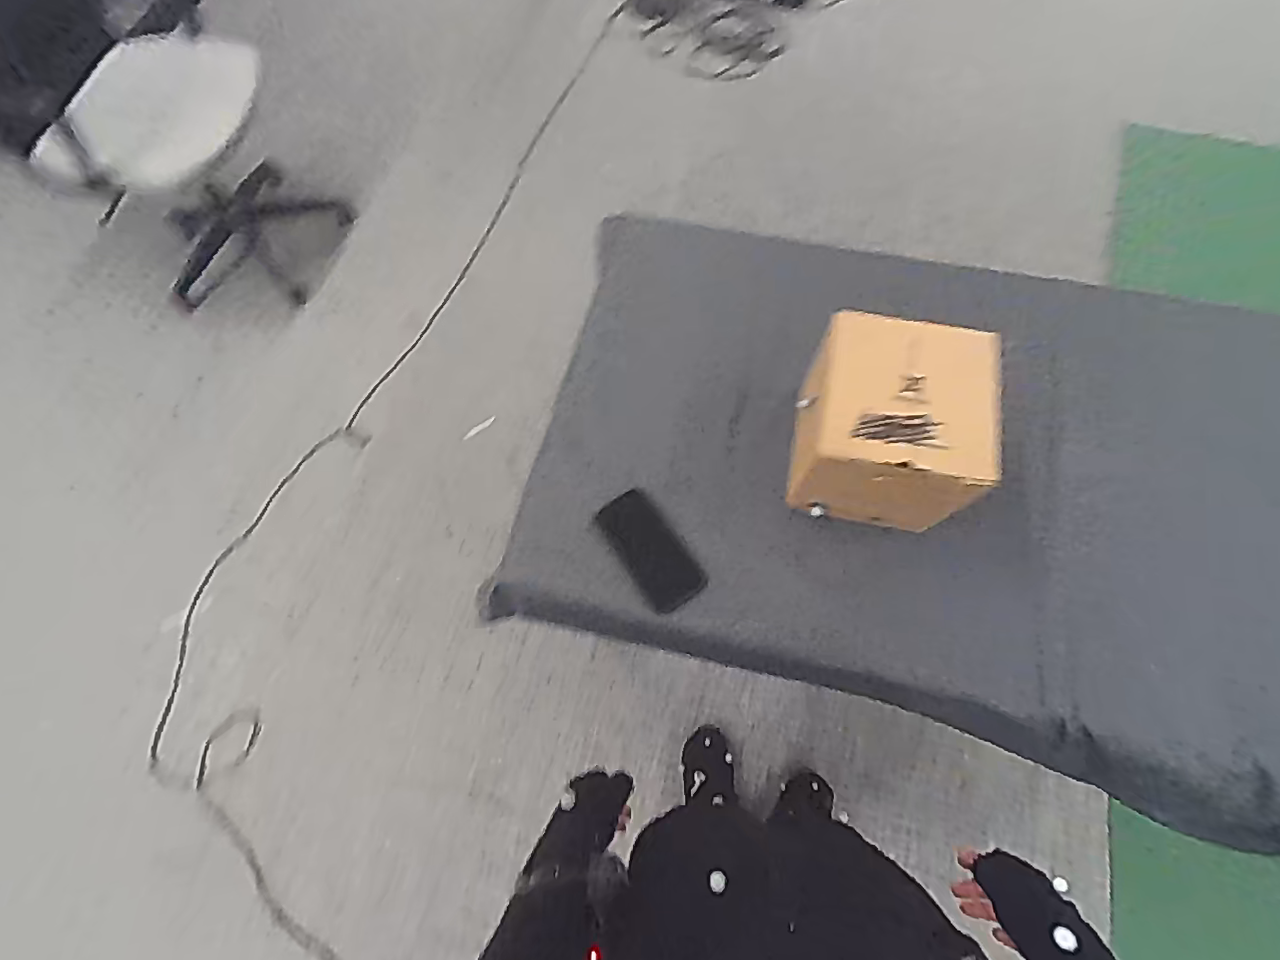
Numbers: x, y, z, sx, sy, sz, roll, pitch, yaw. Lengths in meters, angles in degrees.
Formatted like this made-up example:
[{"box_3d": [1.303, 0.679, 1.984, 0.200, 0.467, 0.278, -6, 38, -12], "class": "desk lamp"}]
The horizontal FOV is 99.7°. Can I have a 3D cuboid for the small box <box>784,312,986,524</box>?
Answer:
[{"box_3d": [0.272, -0.062, 0.629, 0.168, 0.176, 0.179, 11, 69, 7], "class": "small box"}]
